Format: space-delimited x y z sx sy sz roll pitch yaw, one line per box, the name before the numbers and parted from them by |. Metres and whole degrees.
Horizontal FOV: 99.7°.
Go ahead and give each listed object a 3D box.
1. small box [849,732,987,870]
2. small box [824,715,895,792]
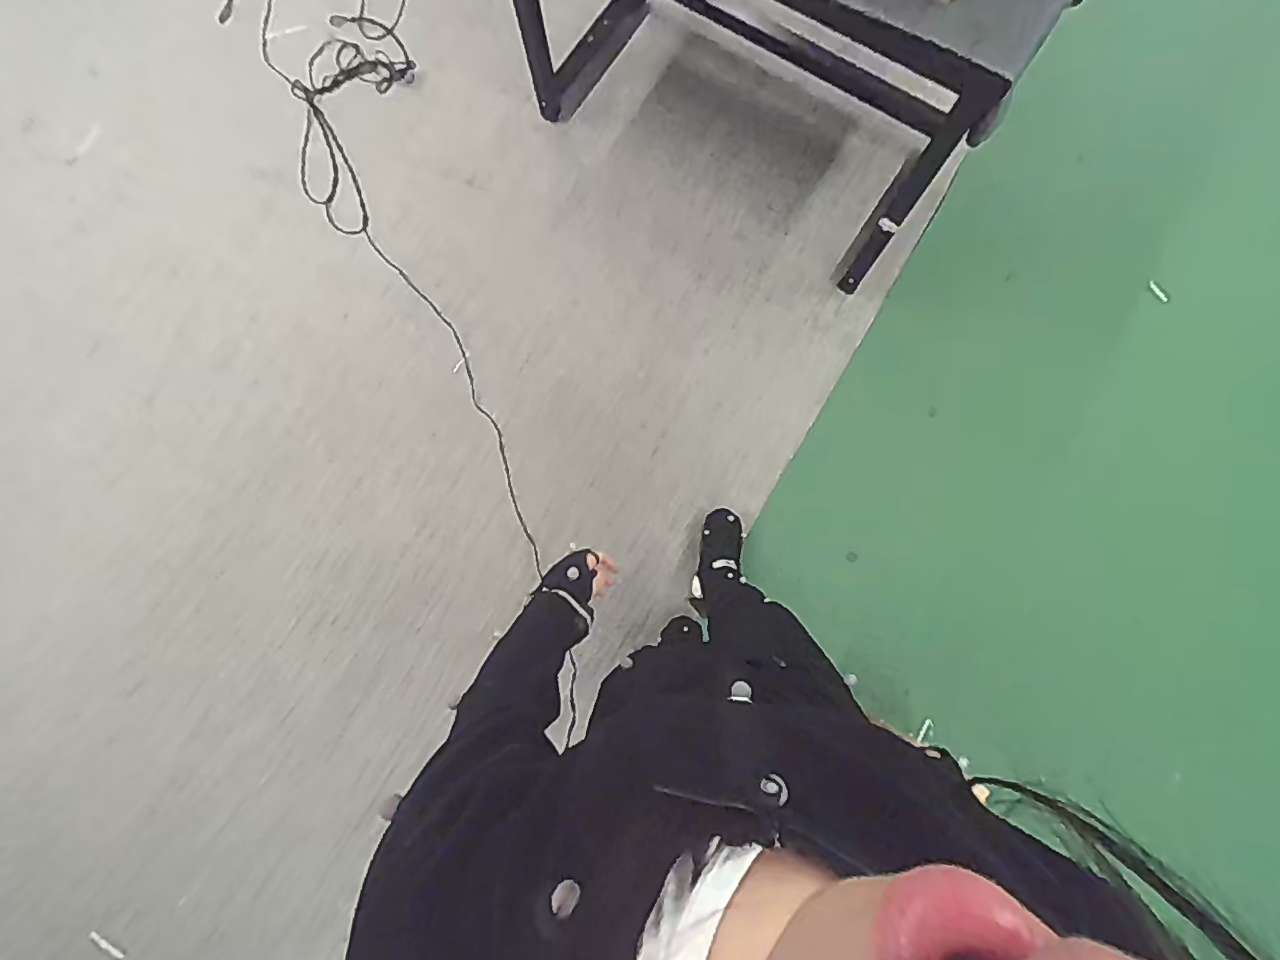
small box | 0.591 0.678 1.170 0.179 0.176 0.168 30 81 5
small box | 0.589 0.707 1.329 0.179 0.176 0.168 32 80 6
